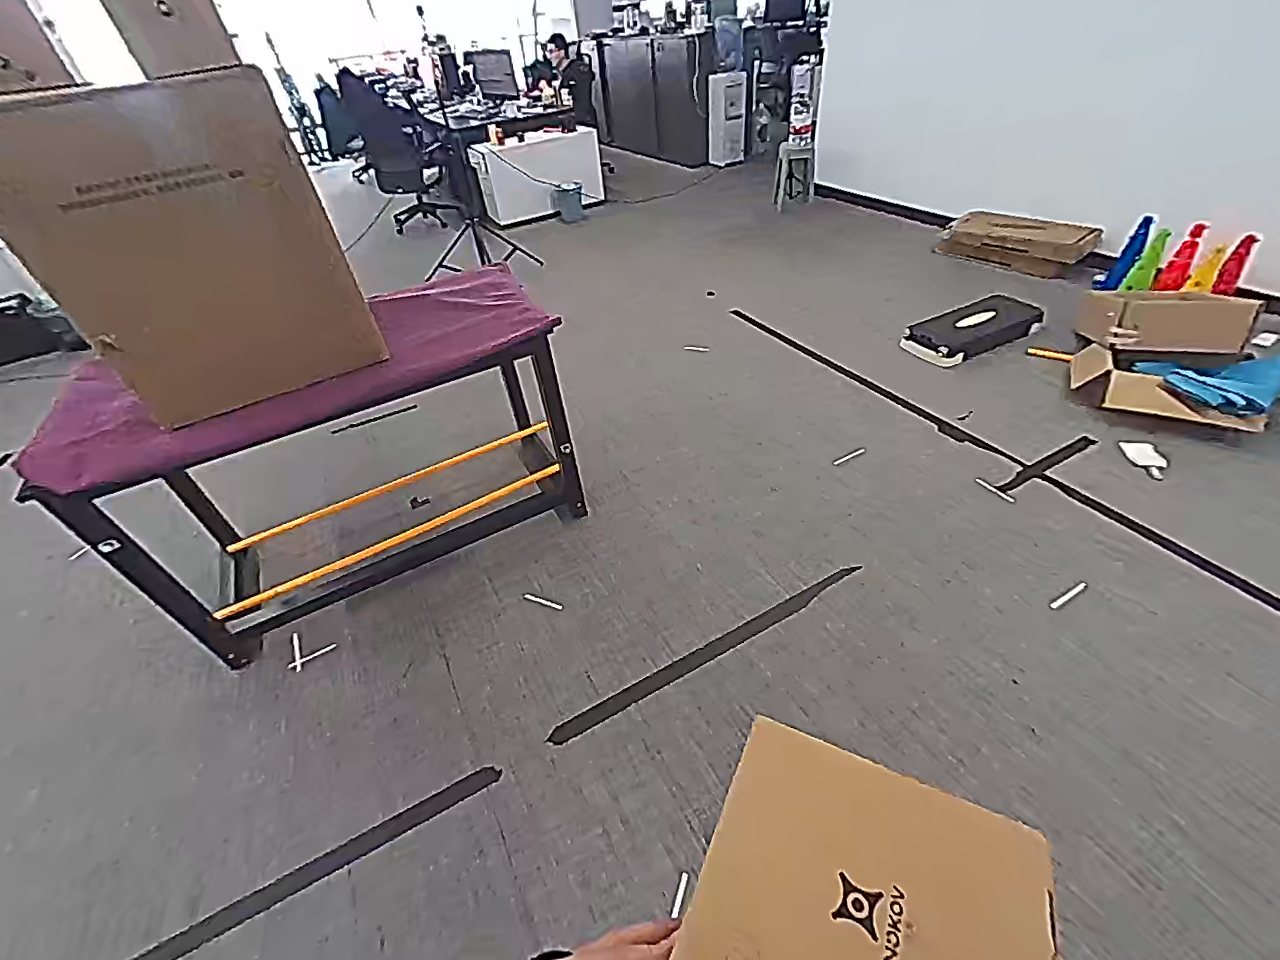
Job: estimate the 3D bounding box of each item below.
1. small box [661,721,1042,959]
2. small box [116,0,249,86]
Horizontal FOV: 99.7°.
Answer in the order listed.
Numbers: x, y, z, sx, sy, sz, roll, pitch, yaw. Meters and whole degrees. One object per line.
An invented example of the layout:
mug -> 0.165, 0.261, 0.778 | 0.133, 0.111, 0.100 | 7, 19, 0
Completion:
small box -> 0.126, 0.299, 0.344 | 0.179, 0.176, 0.168 | 14, 41, 24
small box -> -0.960, -0.946, 1.140 | 0.168, 0.176, 0.179 | -25, 44, -17
